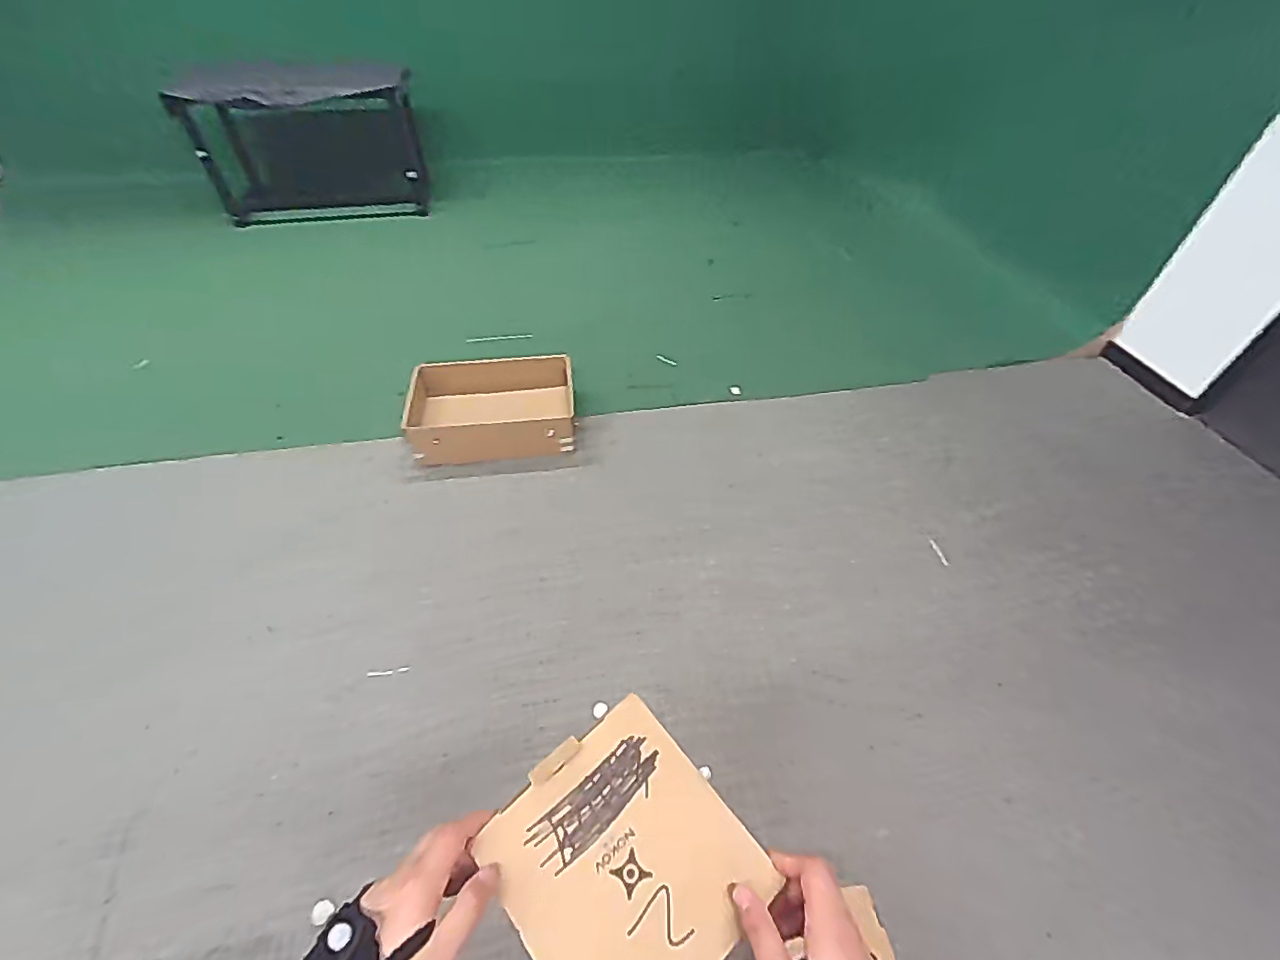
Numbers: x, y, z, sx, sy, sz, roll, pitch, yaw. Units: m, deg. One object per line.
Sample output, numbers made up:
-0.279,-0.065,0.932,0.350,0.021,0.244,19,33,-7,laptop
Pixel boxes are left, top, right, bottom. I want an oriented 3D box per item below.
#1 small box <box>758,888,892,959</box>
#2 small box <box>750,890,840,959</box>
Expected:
0.318,0.826,0.929,0.179,0.176,0.168,-7,46,-6,small box
0.325,0.932,1.053,0.168,0.176,0.179,-6,47,-7,small box
